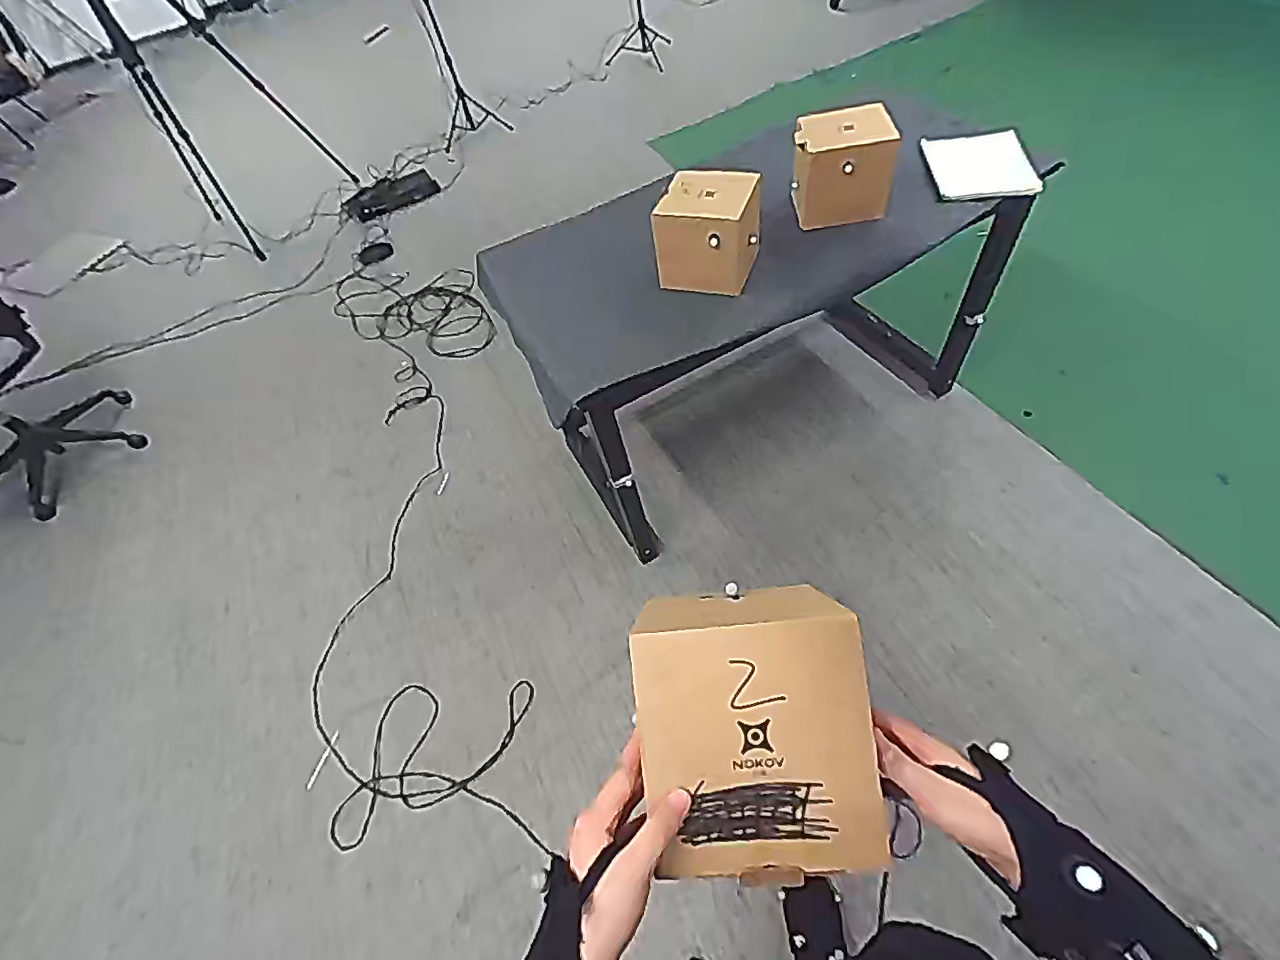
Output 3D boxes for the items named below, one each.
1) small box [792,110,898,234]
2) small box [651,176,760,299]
[{"bbox_3d":[0.435,-0.666,1.178,0.179,0.176,0.168,-5,54,9],"label":"small box"},{"bbox_3d":[0.140,-0.497,1.116,0.179,0.176,0.168,13,58,19],"label":"small box"}]
